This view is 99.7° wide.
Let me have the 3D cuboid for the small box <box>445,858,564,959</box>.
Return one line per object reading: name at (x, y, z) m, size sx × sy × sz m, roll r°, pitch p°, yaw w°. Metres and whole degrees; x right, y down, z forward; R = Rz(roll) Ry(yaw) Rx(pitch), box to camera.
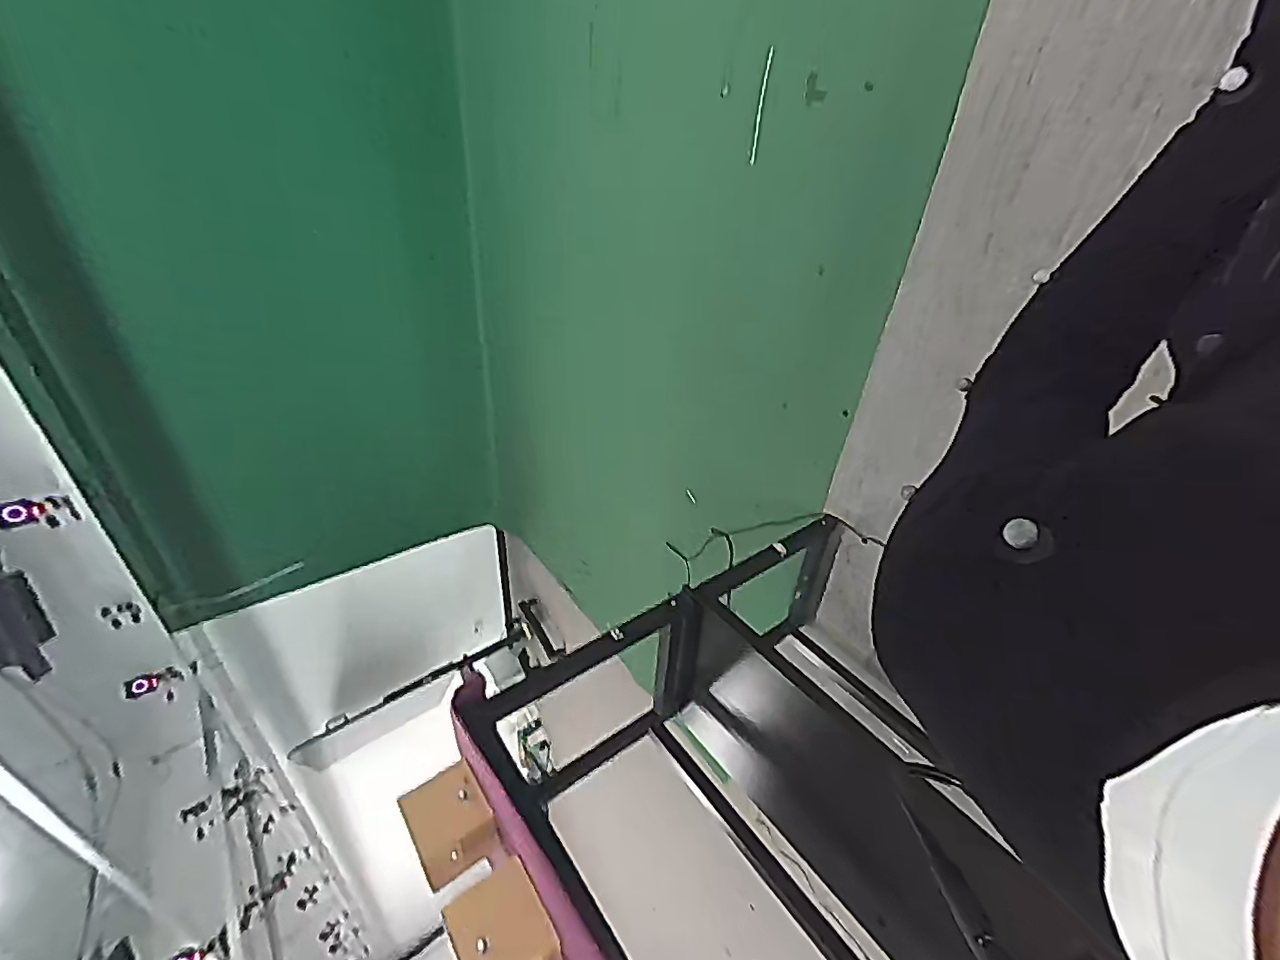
small box at (-0.260, 0.905, 1.063) m, size 0.179 × 0.176 × 0.168 m, roll 37°, pitch 136°, yaw 41°
